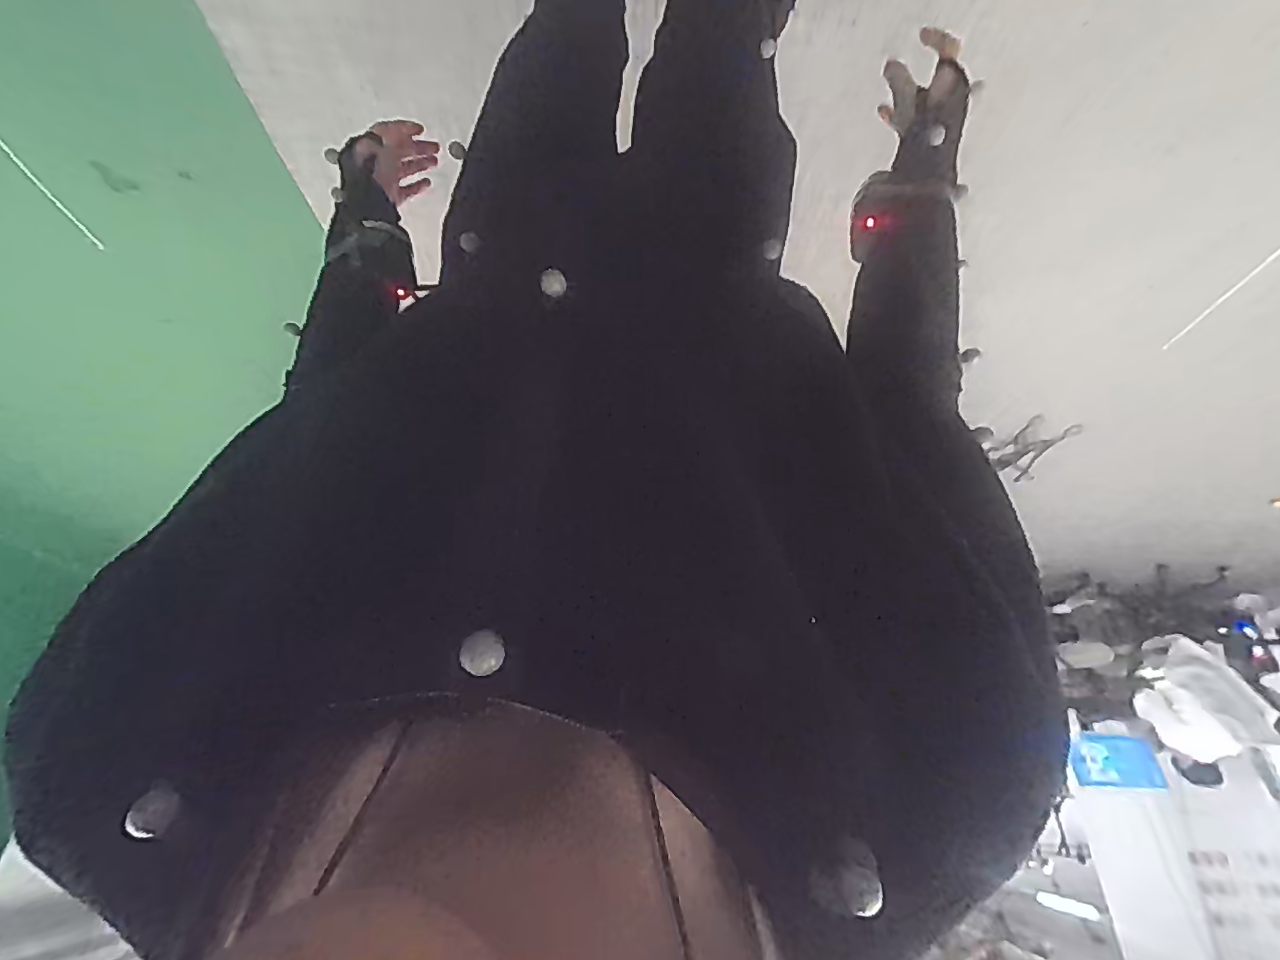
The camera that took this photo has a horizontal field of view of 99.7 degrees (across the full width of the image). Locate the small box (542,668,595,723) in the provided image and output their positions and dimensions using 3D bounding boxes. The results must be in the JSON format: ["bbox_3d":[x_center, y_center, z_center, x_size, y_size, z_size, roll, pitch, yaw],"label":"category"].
[{"bbox_3d":[-0.253,0.776,1.944,0.179,0.176,0.168,3,151,-3],"label":"small box"}]
